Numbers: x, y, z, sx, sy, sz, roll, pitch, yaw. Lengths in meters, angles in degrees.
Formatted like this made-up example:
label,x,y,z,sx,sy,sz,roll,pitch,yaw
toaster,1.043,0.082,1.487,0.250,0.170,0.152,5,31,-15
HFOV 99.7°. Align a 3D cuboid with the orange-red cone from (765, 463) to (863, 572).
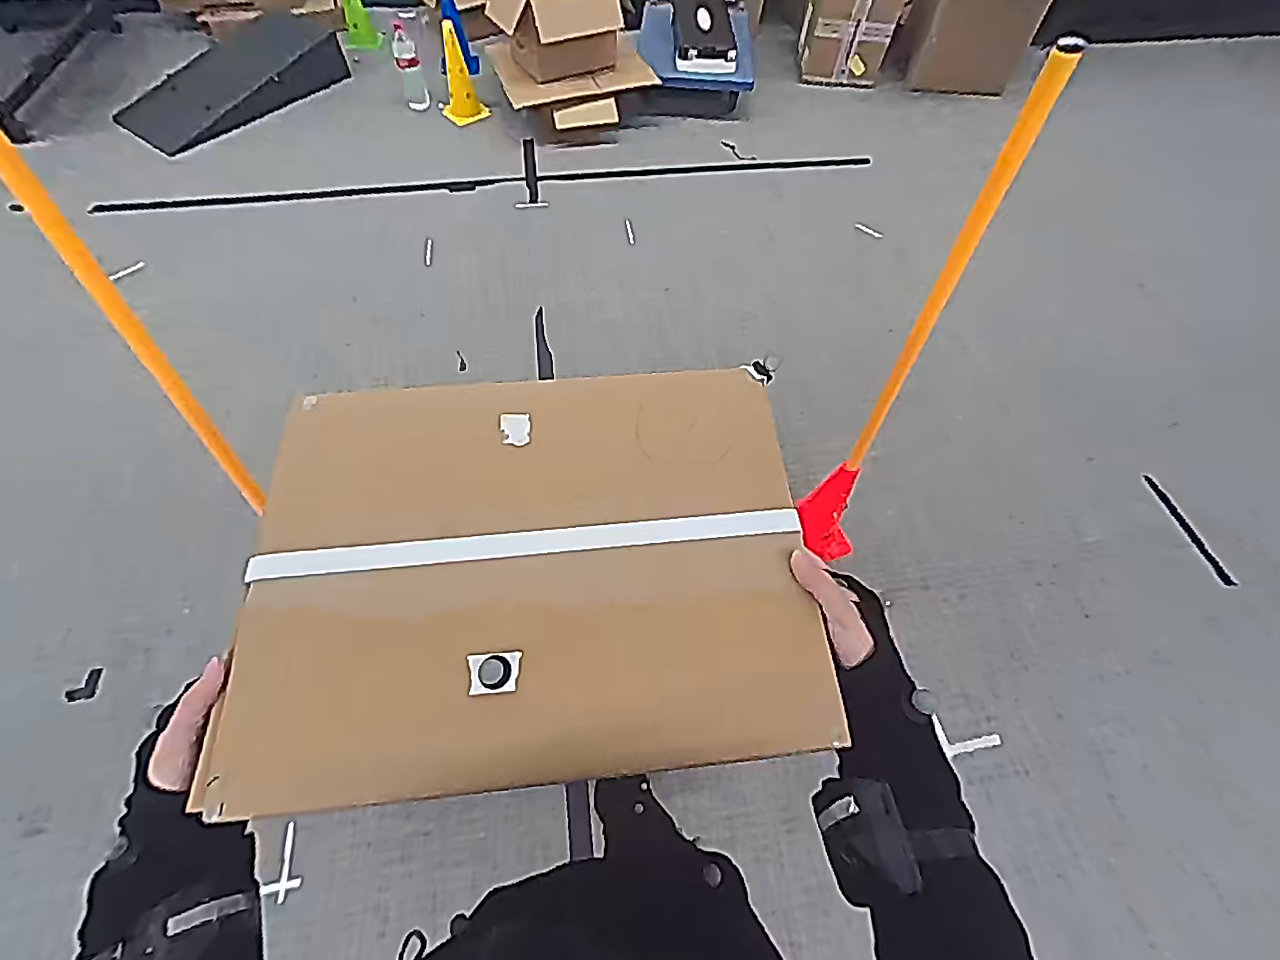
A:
label,x,y,z,sx,sy,sz,roll,pitch,yaw
orange-red cone,0.481,0.065,1.378,0.199,0.360,0.198,-14,61,-12
